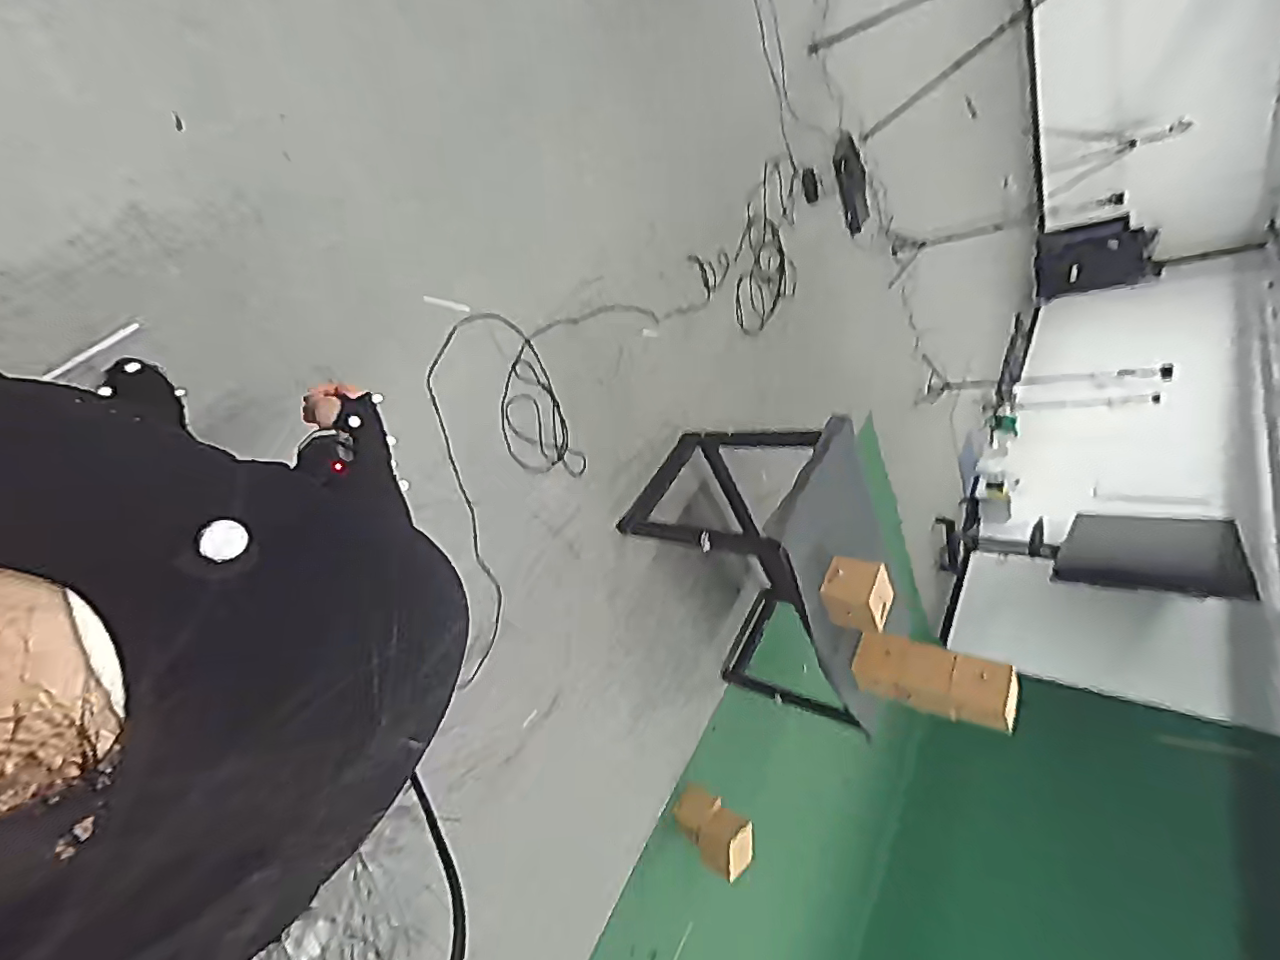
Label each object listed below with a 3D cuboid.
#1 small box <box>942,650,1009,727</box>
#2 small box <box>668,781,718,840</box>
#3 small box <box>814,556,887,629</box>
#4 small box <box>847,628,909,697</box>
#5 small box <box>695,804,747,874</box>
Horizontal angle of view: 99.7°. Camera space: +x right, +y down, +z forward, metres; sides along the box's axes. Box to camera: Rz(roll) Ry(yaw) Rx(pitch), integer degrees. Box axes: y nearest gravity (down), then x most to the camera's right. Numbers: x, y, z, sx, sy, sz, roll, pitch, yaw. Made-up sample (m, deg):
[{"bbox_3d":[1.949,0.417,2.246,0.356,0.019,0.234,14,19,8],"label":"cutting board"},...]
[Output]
[{"bbox_3d":[1.157,0.711,1.863,0.168,0.176,0.179,55,54,-34],"label":"small box"},{"bbox_3d":[0.253,1.540,2.510,0.168,0.176,0.179,-36,118,-39],"label":"small box"},{"bbox_3d":[0.719,0.377,1.849,0.168,0.176,0.179,-53,127,-31],"label":"small box"},{"bbox_3d":[0.915,0.699,2.085,0.179,0.176,0.168,-54,128,-31],"label":"small box"},{"bbox_3d":[0.353,1.566,2.380,0.168,0.176,0.179,-9,100,-45],"label":"small box"}]
